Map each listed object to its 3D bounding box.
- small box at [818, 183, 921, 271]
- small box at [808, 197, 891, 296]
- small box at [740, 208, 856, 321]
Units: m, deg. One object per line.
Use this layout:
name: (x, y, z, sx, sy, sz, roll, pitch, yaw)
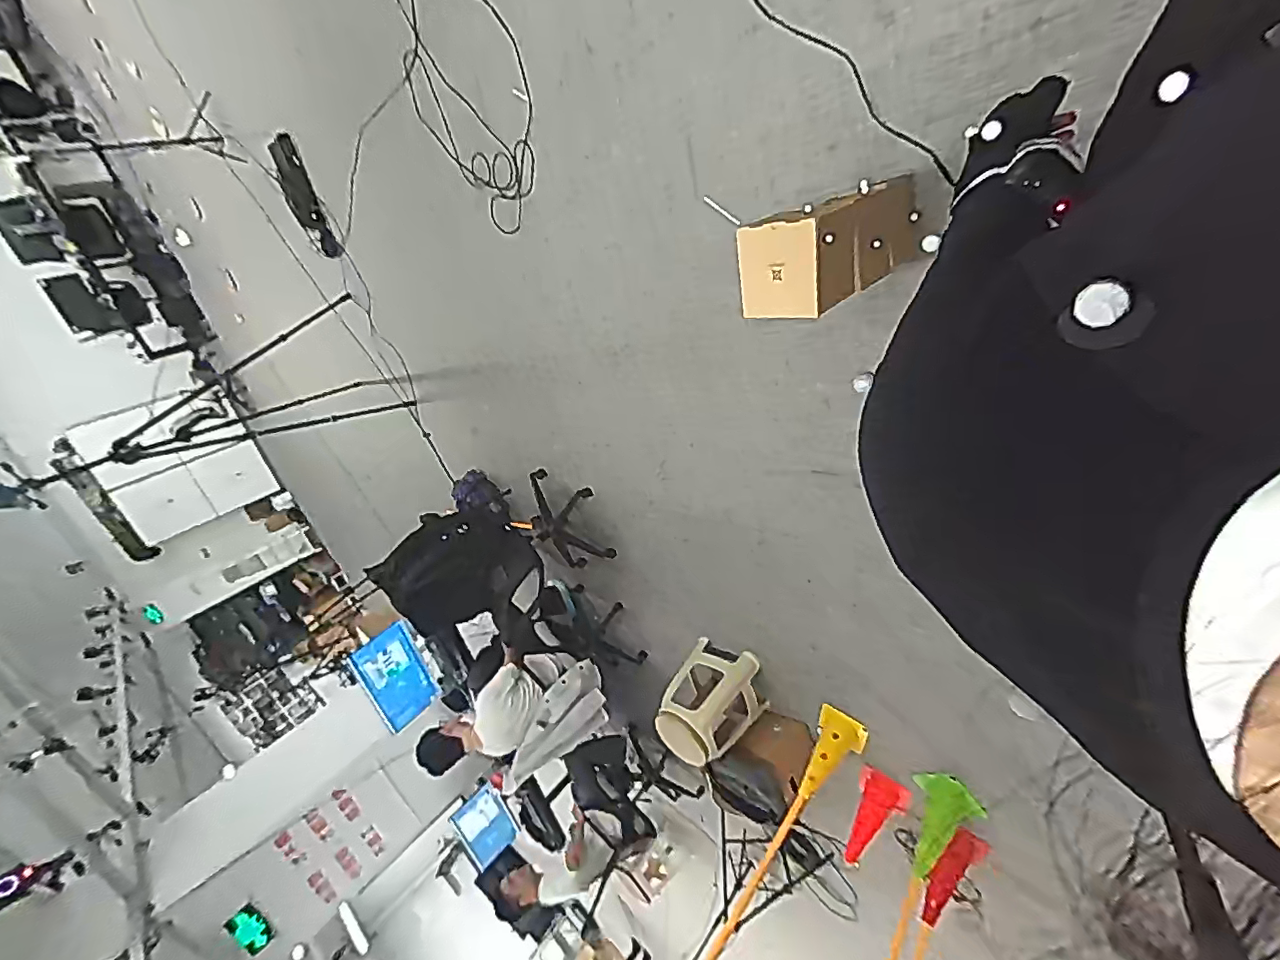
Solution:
small box: (0.544, -0.587, 1.279, 0.168, 0.176, 0.179, 8, 122, 47)
small box: (0.434, -0.505, 1.183, 0.168, 0.176, 0.179, 9, 125, 43)
small box: (0.322, -0.432, 1.090, 0.168, 0.176, 0.179, 15, 127, 40)
